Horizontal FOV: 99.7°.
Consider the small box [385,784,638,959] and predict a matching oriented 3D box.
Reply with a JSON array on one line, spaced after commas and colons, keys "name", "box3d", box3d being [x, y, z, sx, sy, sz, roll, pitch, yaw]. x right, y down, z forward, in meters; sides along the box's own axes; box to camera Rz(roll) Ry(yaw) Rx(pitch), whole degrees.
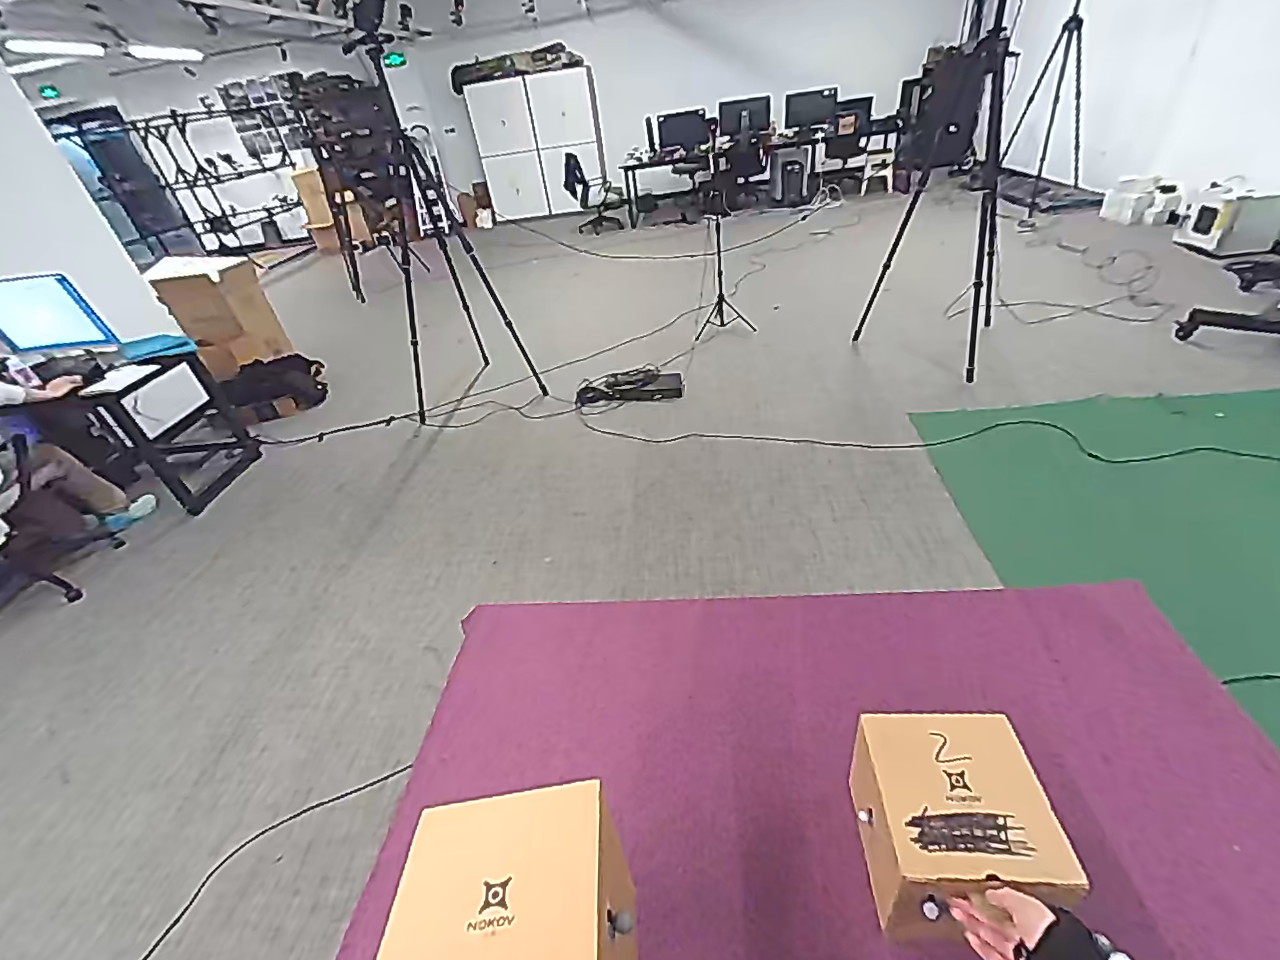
[{"name": "small box", "box3d": [-0.097, 0.402, 0.458, 0.168, 0.176, 0.179, -11, 26, 1]}]
